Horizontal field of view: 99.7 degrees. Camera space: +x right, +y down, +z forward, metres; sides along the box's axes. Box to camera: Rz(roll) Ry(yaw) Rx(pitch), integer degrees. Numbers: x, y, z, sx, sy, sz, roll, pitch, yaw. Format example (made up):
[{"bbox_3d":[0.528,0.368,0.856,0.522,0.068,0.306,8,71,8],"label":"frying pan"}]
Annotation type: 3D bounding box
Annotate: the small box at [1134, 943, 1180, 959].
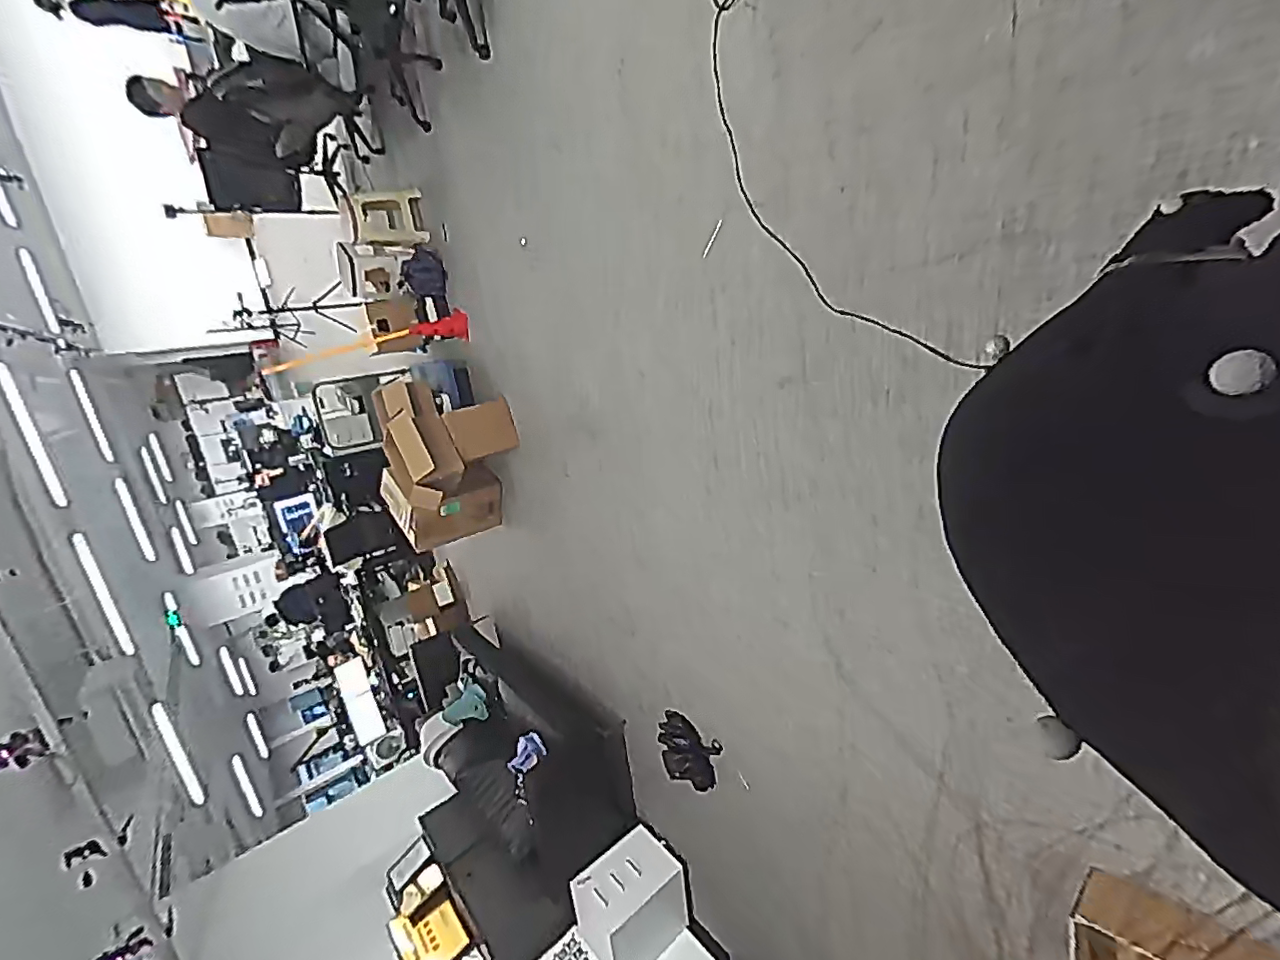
[{"bbox_3d":[1.280,1.268,1.279,0.179,0.176,0.168,6,111,50],"label":"small box"}]
